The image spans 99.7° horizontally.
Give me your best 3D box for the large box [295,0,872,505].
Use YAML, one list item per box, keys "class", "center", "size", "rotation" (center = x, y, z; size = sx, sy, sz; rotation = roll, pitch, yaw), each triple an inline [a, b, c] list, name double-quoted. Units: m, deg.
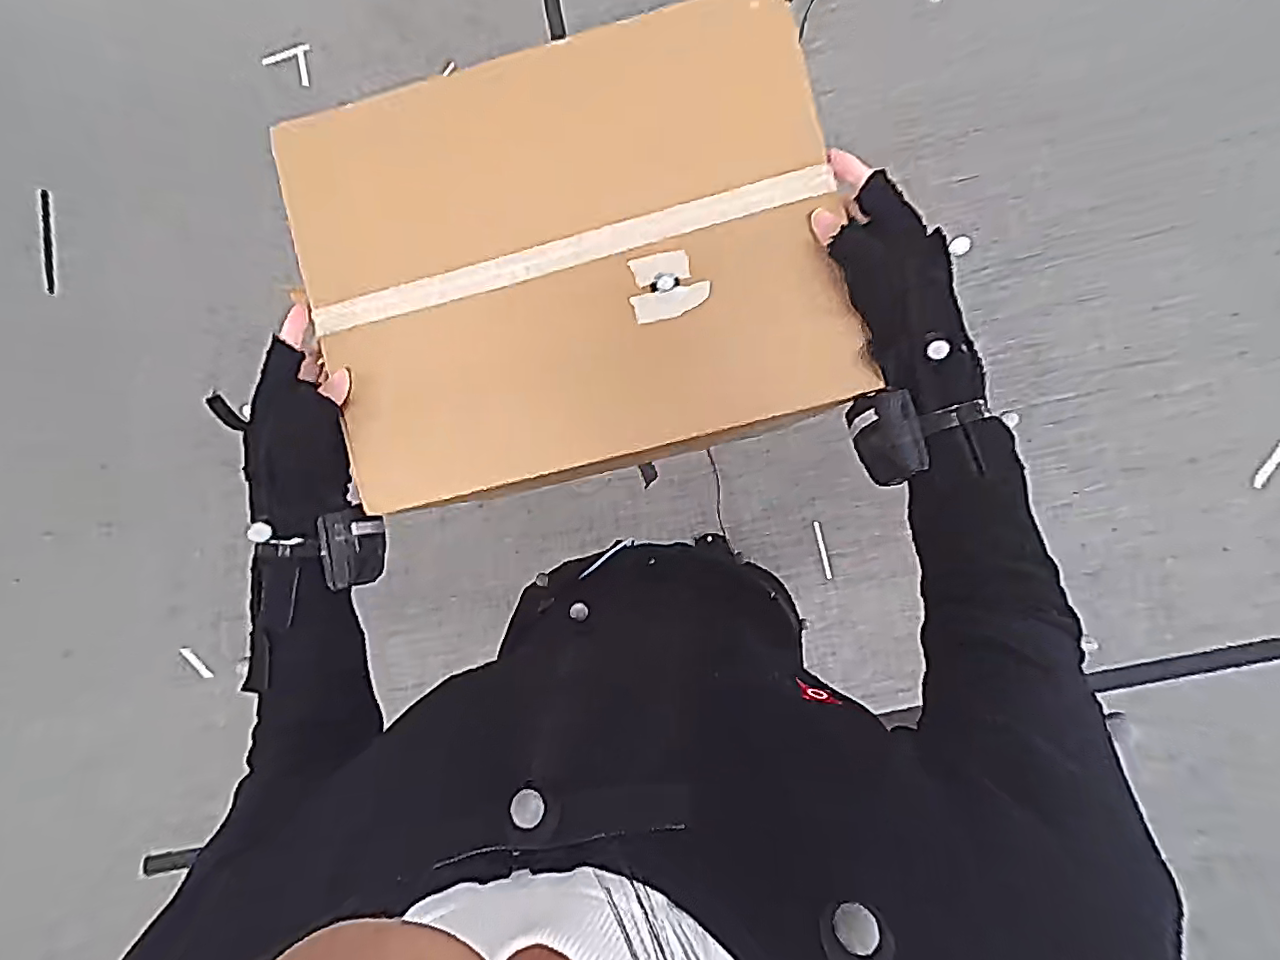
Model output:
- class: "large box"
  center: [-0.044, -0.177, 0.570]
  size: [0.408, 0.320, 0.320]
  rotation: [-14, 91, 3]
